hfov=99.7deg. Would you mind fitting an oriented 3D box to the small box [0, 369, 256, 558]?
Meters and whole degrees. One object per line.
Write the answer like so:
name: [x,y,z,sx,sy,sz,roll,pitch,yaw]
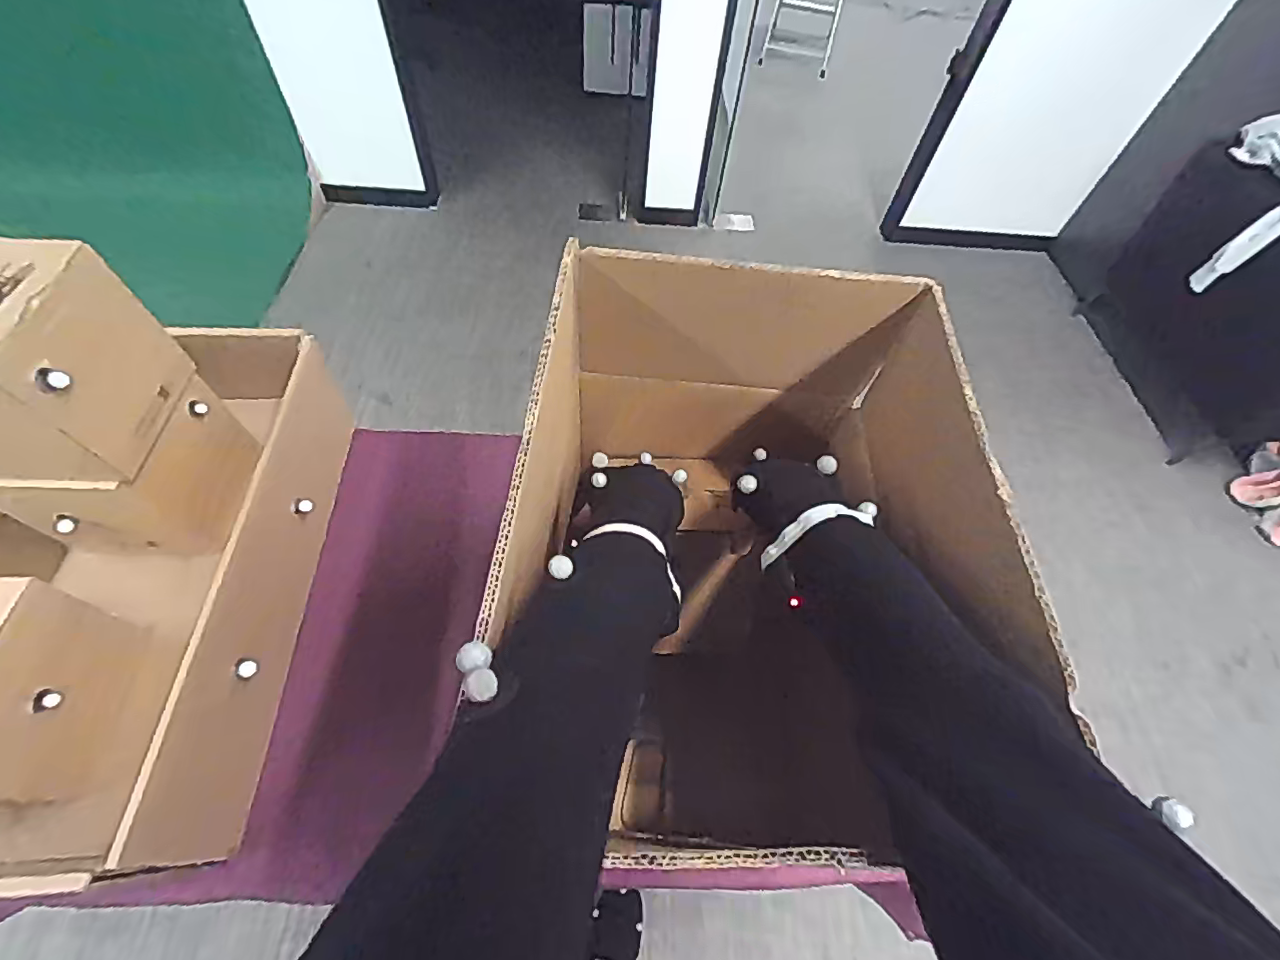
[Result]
small box: [-0.625,-0.014,0.670,0.168,0.176,0.179,2,57,-3]
